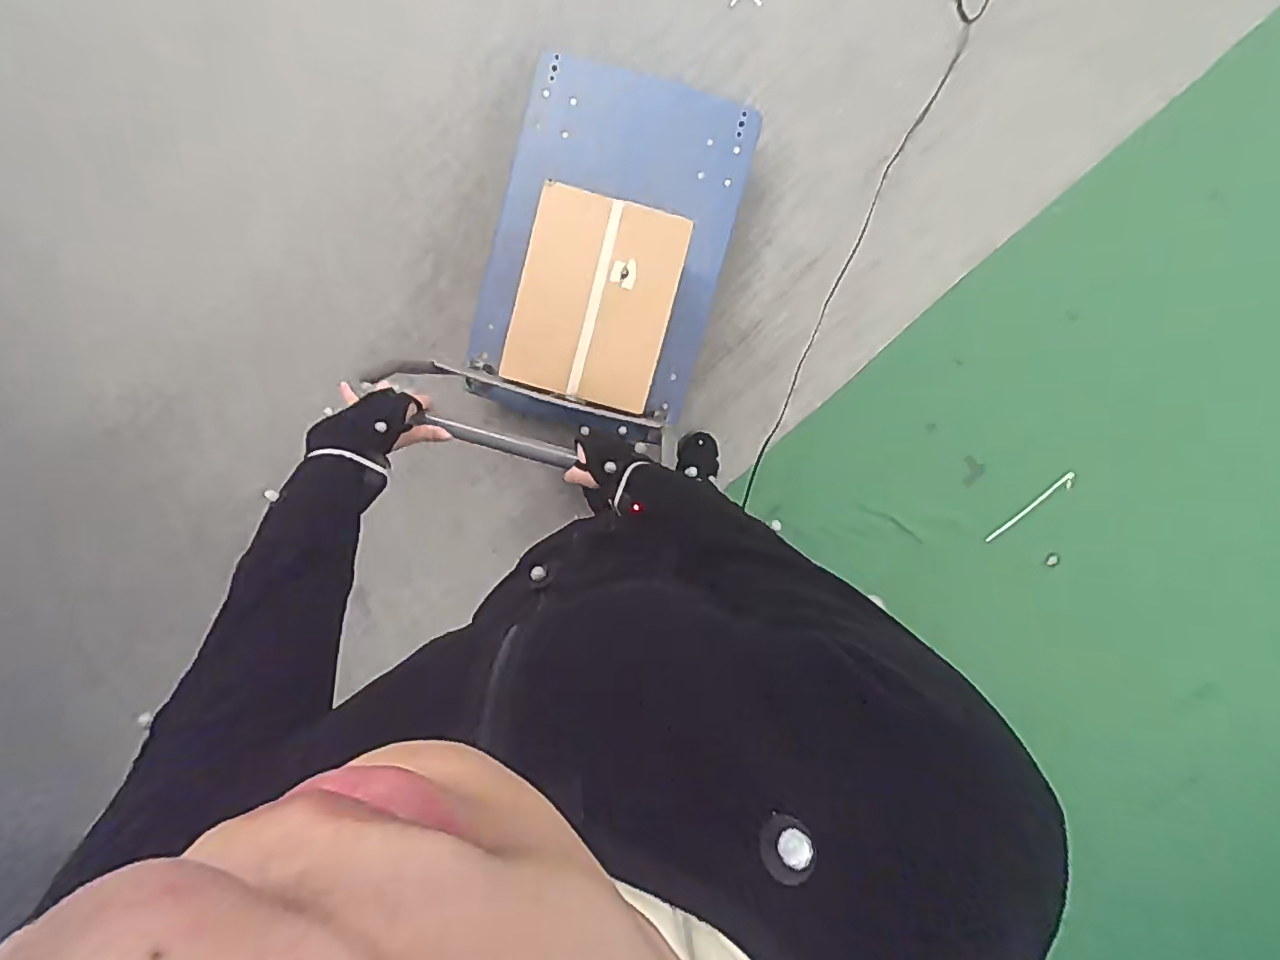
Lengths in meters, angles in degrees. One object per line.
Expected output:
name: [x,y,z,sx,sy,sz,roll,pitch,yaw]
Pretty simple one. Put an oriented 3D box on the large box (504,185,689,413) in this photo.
large box: [-0.092,-0.388,1.270,0.320,0.320,0.408,15,96,-2]
